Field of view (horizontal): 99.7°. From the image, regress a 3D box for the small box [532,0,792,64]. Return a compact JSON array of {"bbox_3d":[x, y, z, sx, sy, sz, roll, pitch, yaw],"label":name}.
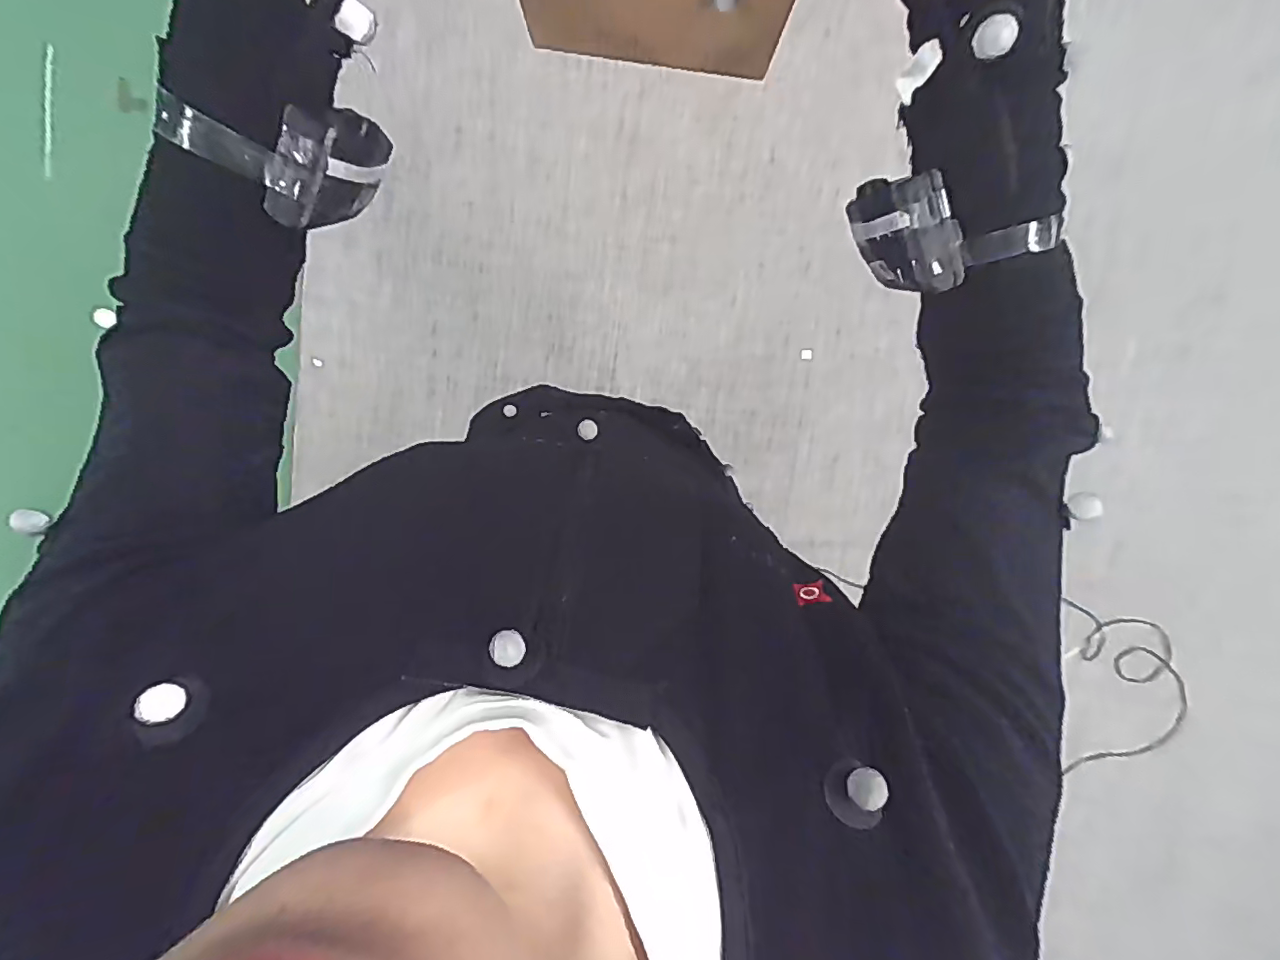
[{"bbox_3d":[0.022,-0.381,0.309,0.179,0.176,0.168,6,97,-1],"label":"small box"}]
